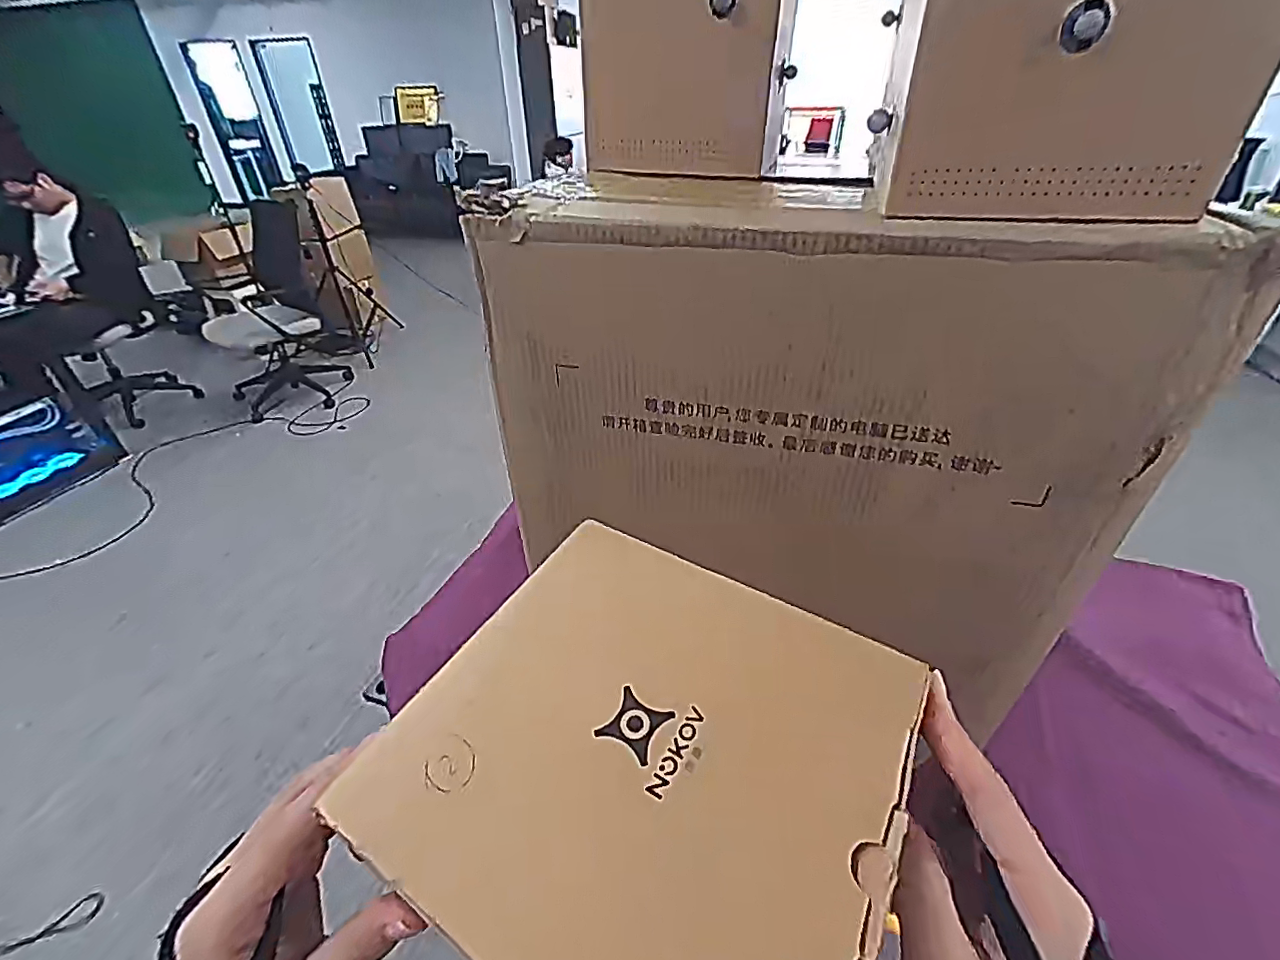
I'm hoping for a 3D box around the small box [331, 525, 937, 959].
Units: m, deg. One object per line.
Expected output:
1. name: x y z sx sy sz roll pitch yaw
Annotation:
1. small box: 0.007 0.156 0.254 0.179 0.176 0.168 21 46 25
